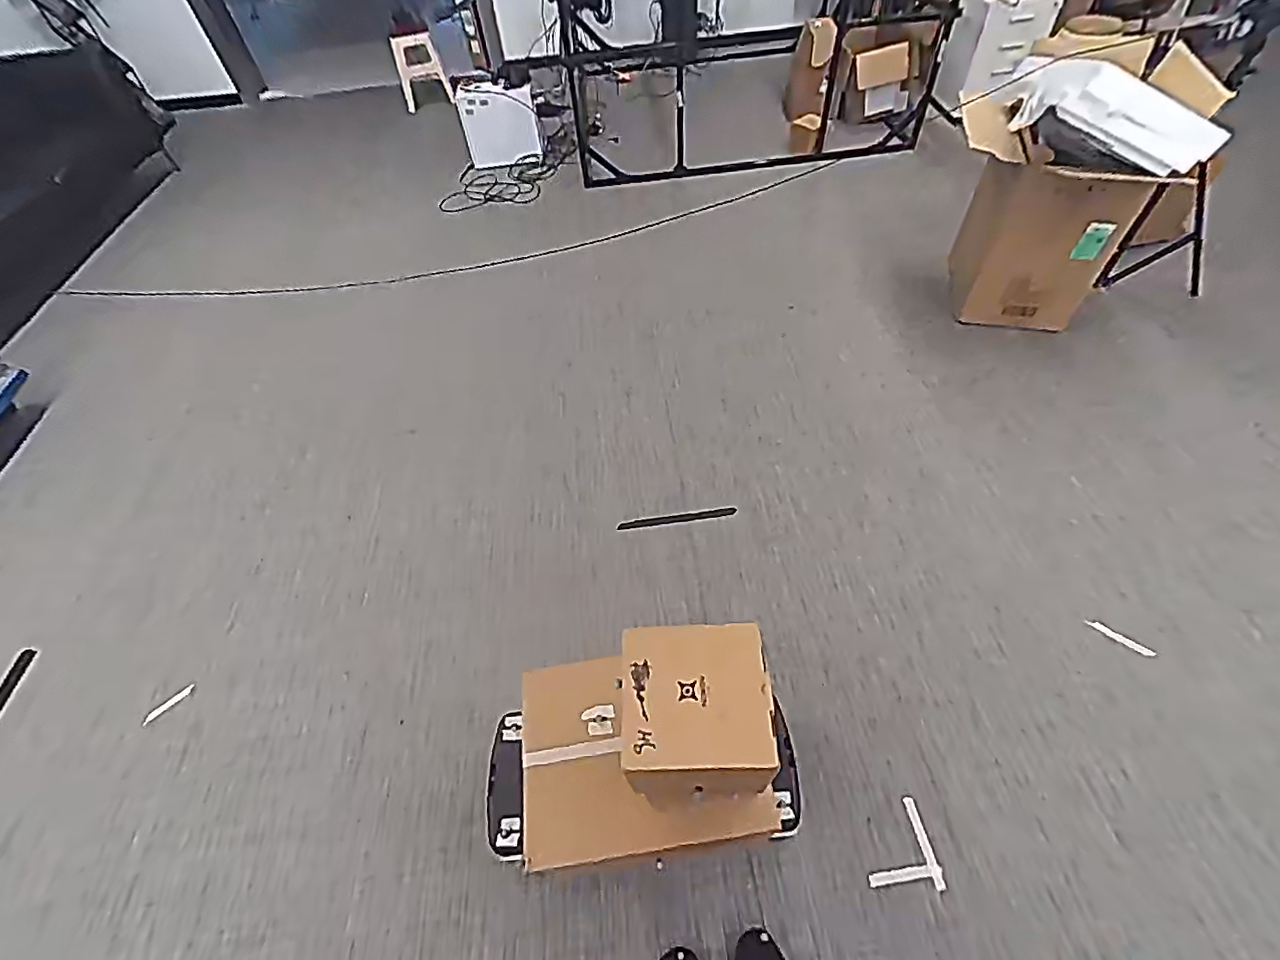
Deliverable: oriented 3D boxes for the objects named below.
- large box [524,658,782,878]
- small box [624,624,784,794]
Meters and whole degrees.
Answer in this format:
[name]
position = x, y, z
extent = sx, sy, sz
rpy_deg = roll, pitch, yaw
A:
[large box]
position = 0.018, 0.537, 1.032
extent = 0.408, 0.320, 0.320
rpy_deg = -10, 51, -1
[small box]
position = 0.074, 0.296, 0.695
extent = 0.179, 0.176, 0.168
rpy_deg = -2, 51, 3
